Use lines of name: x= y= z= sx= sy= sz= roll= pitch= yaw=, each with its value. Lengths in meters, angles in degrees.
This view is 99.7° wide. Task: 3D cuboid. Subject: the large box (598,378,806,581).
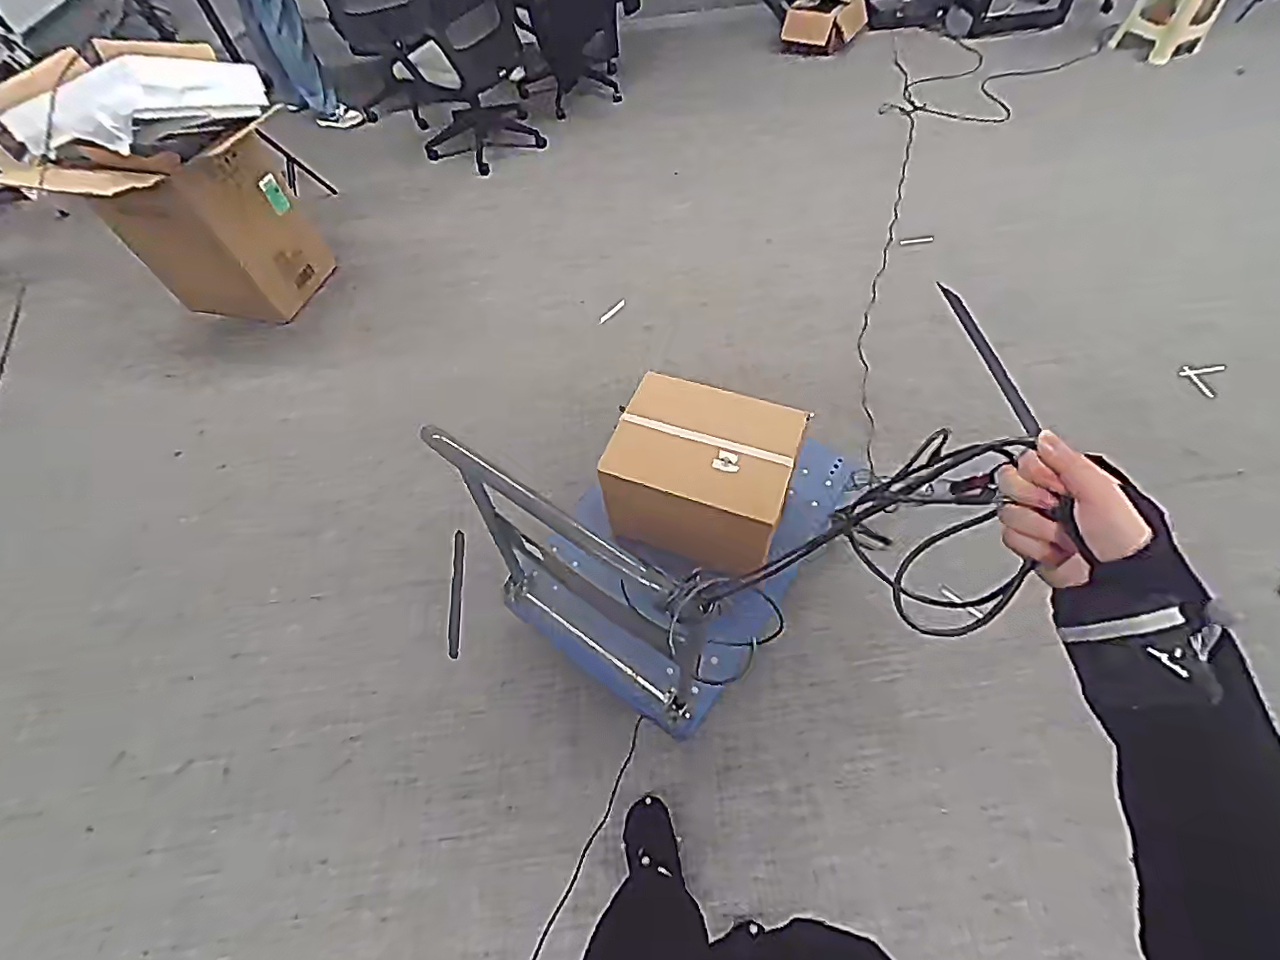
large box: x=0.149 y=0.000 z=1.333 sx=0.408 sy=0.320 sz=0.320 roll=17 pitch=61 yaw=14
